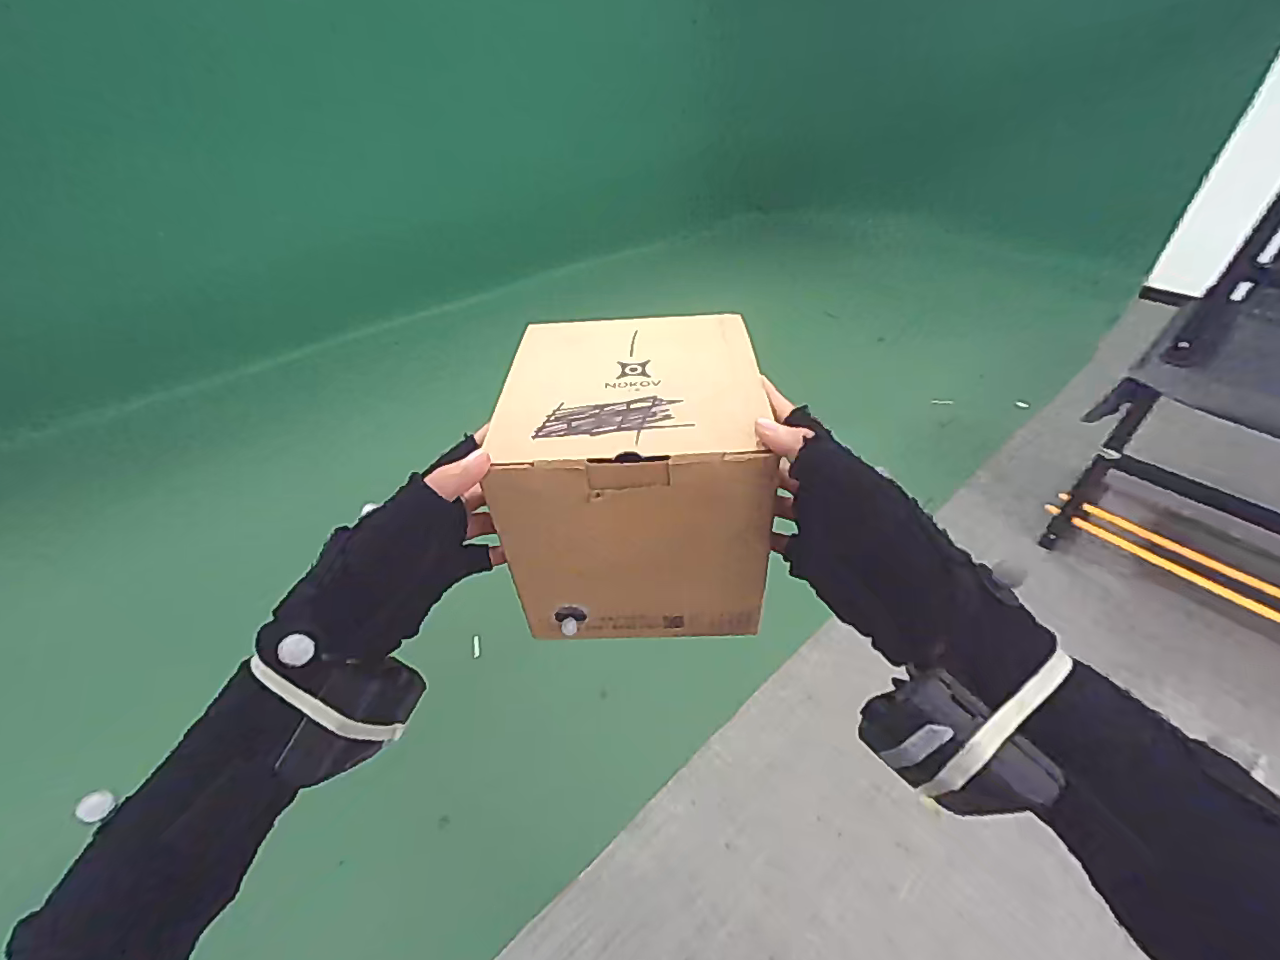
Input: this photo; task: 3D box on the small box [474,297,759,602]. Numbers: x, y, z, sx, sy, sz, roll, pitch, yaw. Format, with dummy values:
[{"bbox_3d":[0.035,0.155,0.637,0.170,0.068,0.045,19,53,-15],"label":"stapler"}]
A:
[{"bbox_3d":[-0.005,-0.021,0.413,0.168,0.176,0.179,-2,40,4],"label":"small box"}]
